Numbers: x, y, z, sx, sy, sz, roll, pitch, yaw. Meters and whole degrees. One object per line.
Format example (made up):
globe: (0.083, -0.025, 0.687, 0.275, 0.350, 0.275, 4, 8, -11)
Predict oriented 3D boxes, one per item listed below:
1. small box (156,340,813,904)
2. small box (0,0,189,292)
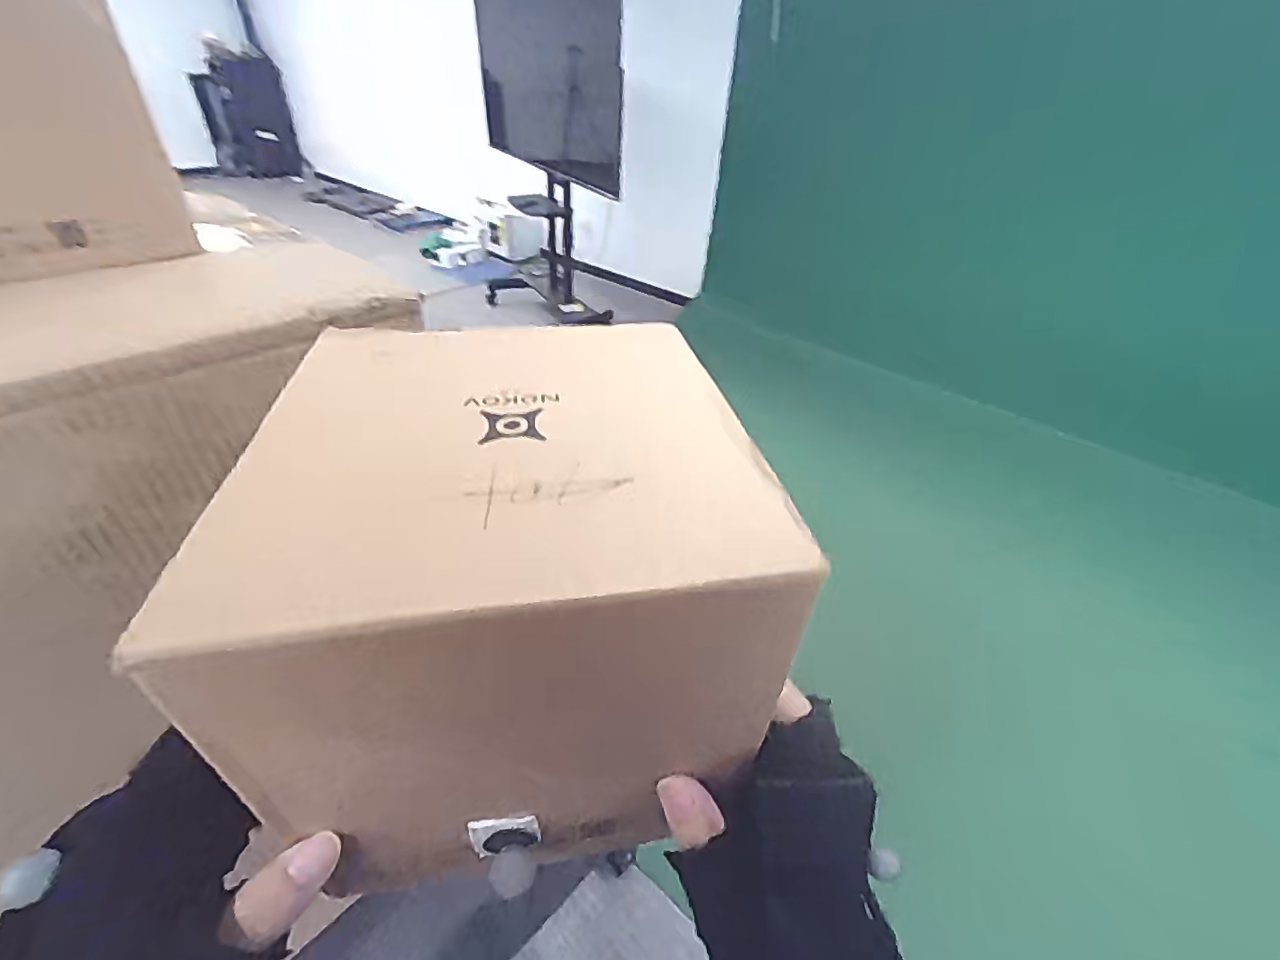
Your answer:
small box: (-0.050, 0.051, 0.248, 0.168, 0.176, 0.179, -6, 39, -10)
small box: (-0.397, -0.204, 0.291, 0.179, 0.176, 0.168, 27, 43, 27)
